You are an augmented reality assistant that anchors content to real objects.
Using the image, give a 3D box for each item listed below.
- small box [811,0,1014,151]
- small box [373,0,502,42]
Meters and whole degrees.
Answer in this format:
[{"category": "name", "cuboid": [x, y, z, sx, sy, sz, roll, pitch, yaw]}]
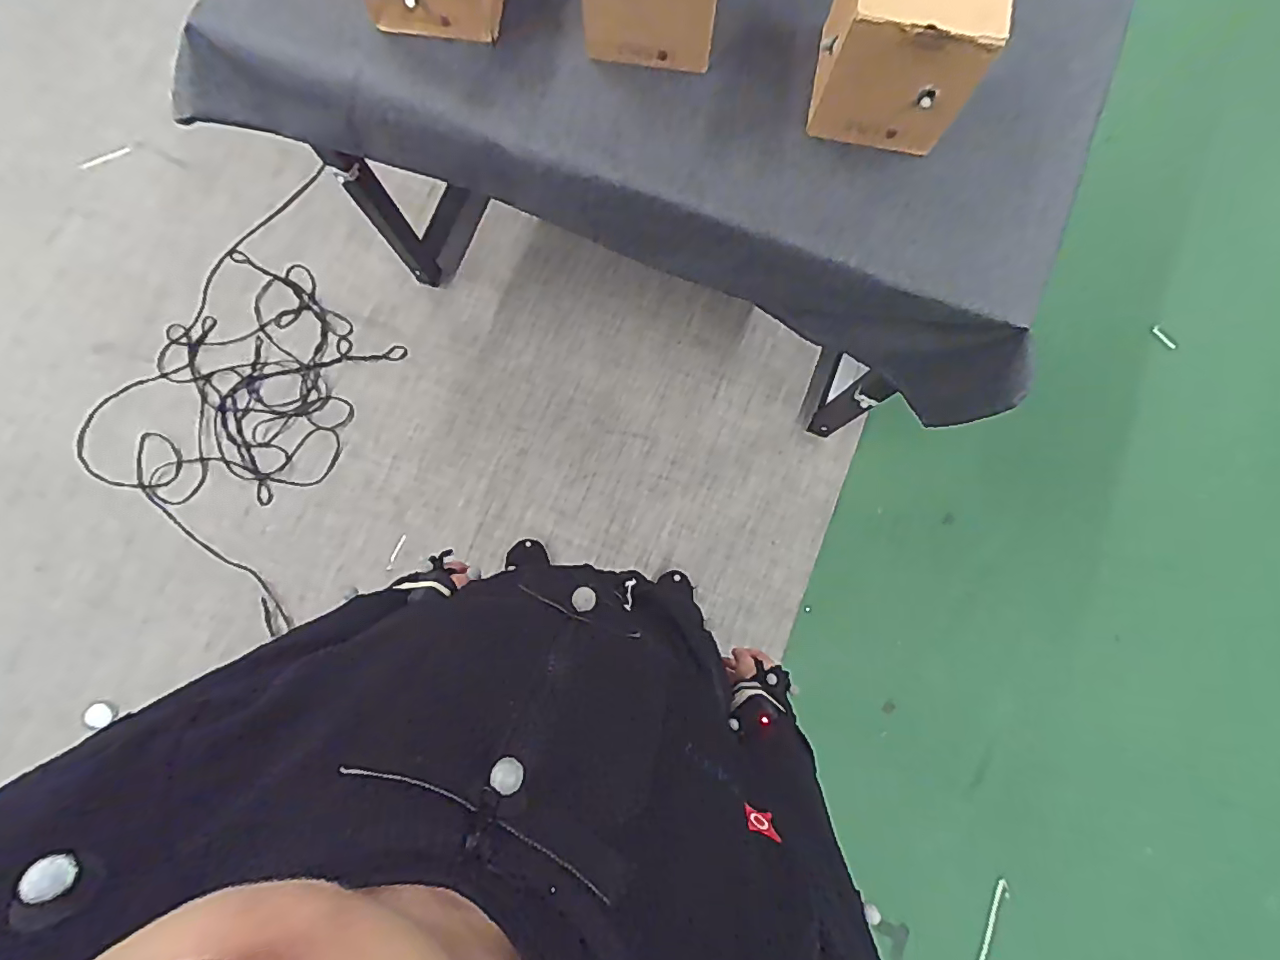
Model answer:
[{"category": "small box", "cuboid": [0.320, -0.543, 0.658, 0.168, 0.176, 0.179, 11, 81, 0]}, {"category": "small box", "cuboid": [-0.267, -0.705, 0.673, 0.168, 0.176, 0.179, 6, 82, 0]}]
